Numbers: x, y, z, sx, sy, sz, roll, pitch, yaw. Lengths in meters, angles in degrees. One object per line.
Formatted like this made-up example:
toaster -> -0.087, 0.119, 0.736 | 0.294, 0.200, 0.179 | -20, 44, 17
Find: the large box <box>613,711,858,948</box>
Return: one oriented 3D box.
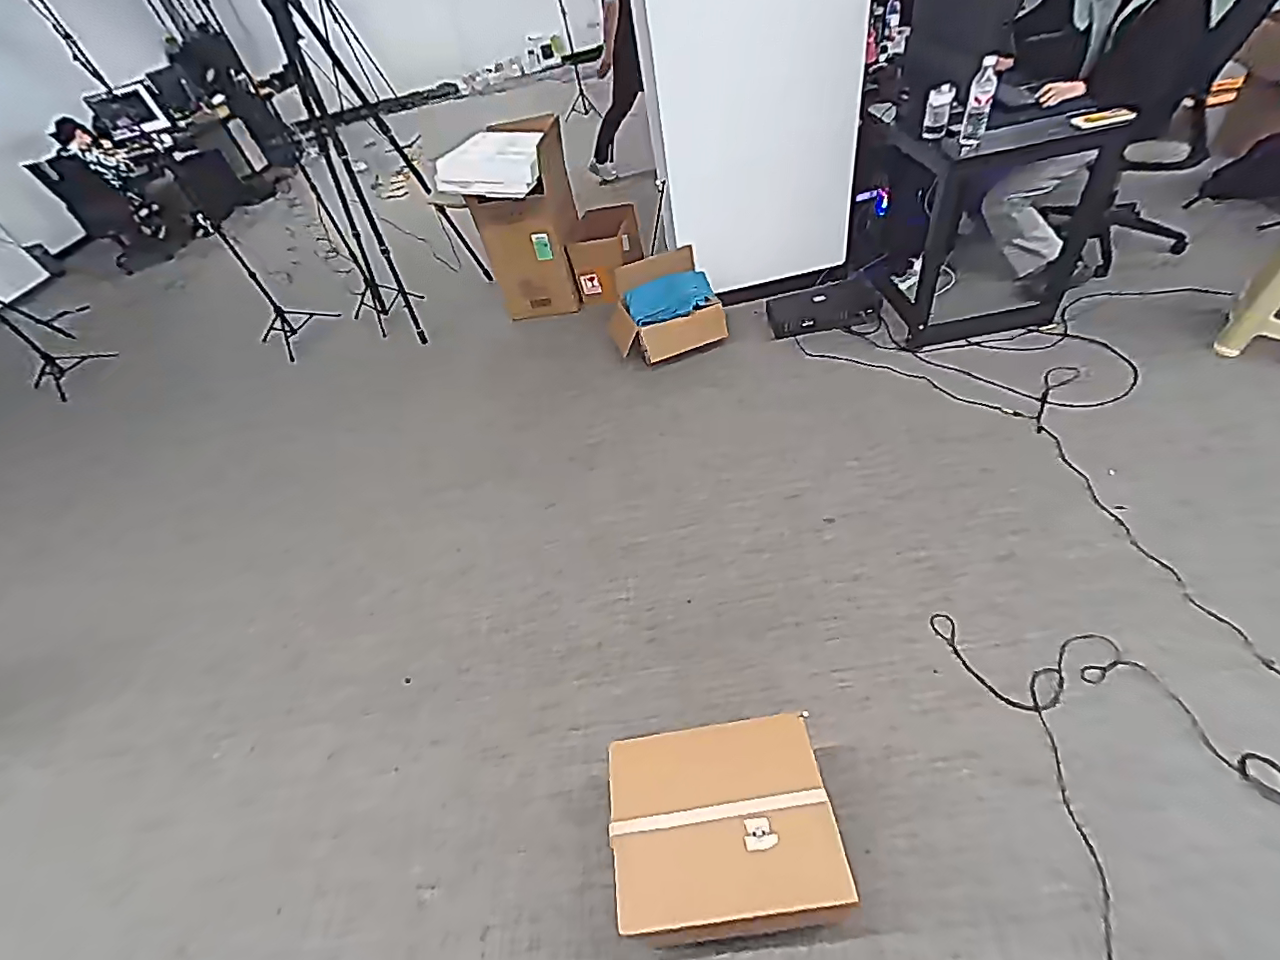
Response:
large box -> 0.178, 0.720, 1.111 | 0.408, 0.320, 0.320 | -11, 46, 3
